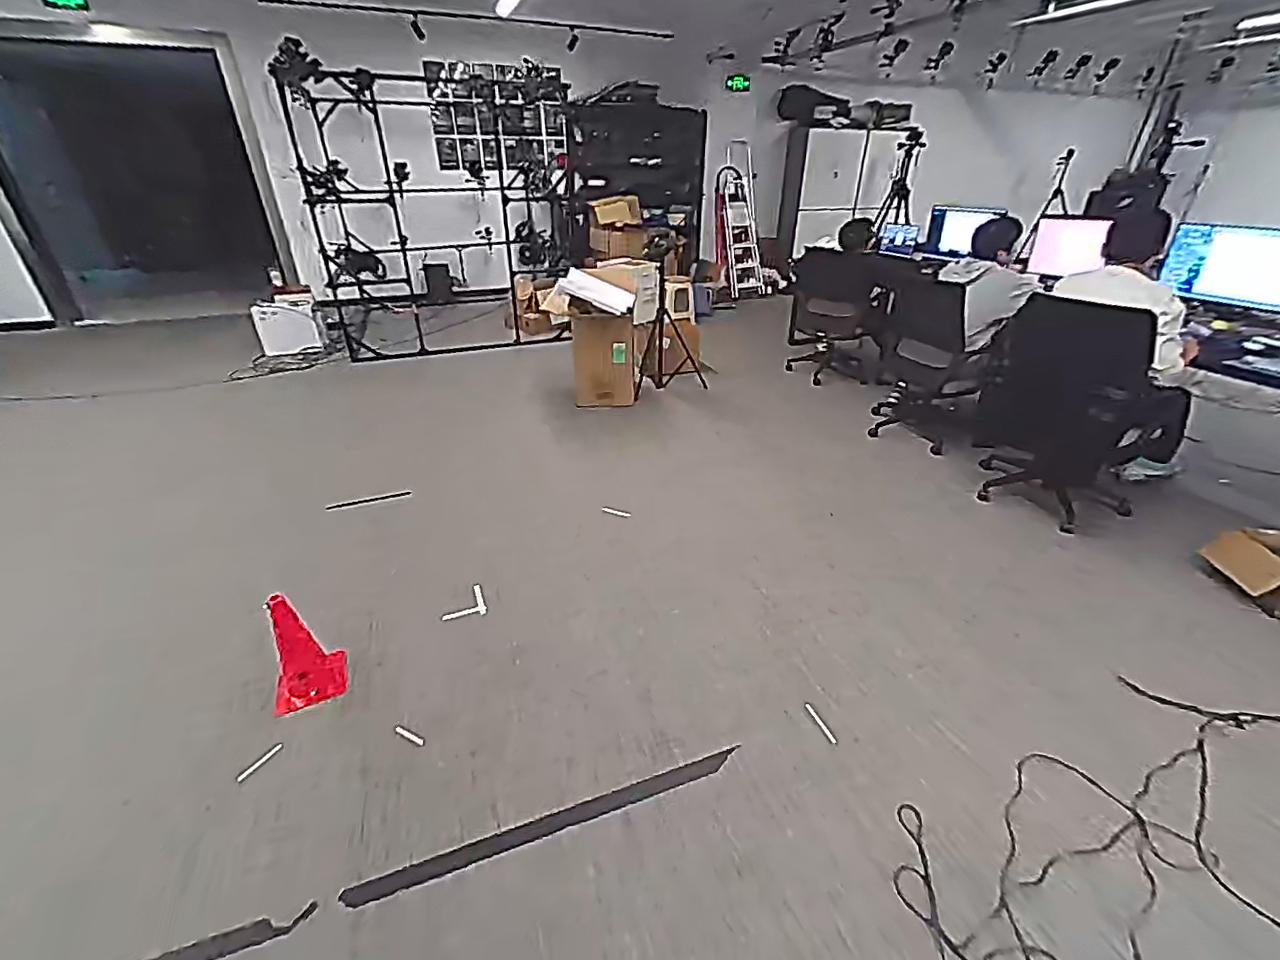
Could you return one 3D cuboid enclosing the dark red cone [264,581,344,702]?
[{"bbox_3d":[-1.054,0.466,1.636,0.202,0.394,0.201,-15,34,-24],"label":"dark red cone"}]
